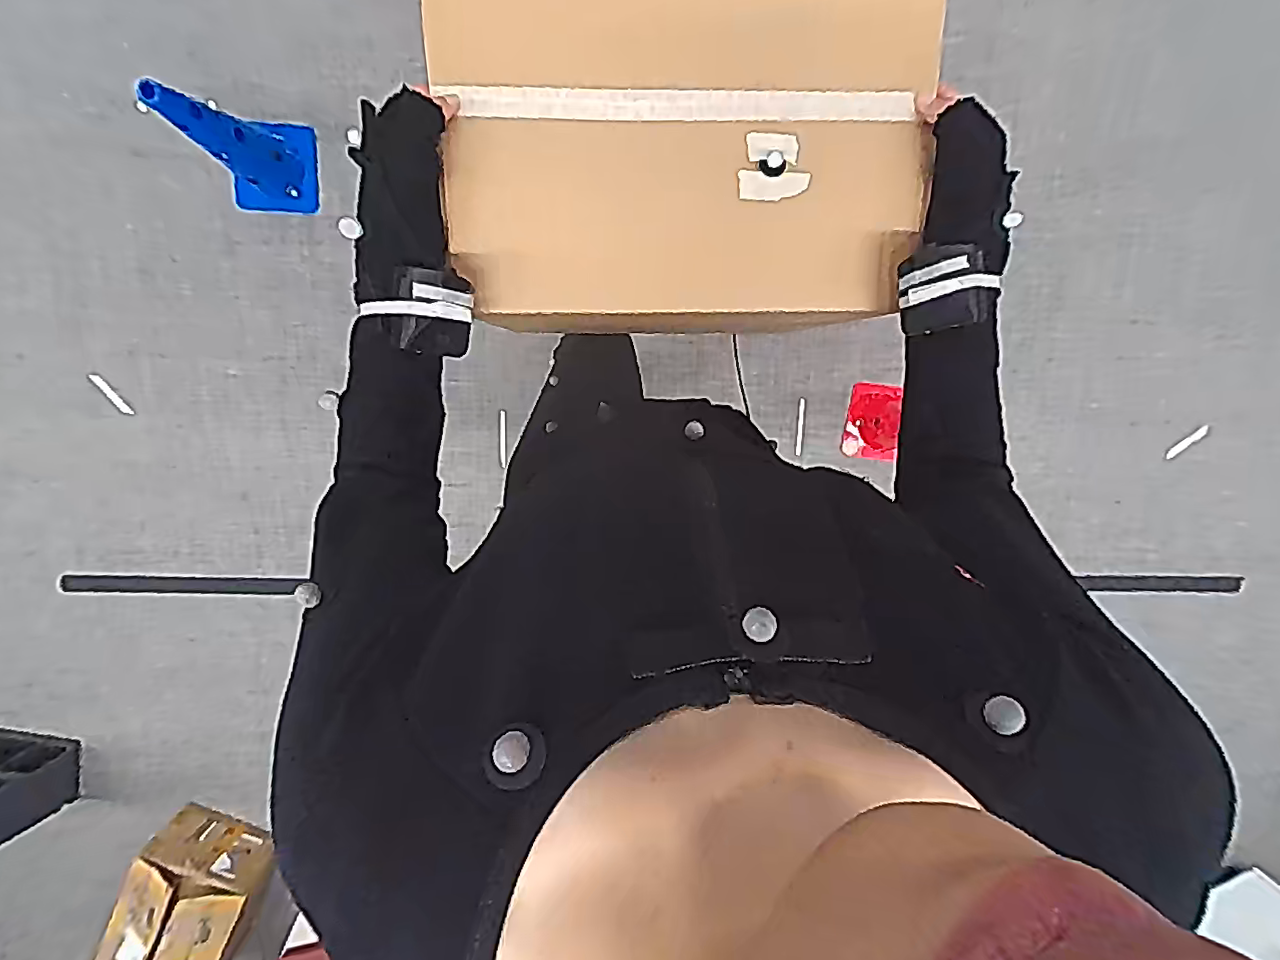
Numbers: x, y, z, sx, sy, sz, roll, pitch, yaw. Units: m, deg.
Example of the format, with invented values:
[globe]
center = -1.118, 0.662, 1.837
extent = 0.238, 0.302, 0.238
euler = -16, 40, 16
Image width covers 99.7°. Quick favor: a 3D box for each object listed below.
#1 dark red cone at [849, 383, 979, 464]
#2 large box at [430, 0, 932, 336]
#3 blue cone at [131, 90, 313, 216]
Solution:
[dark red cone]
center = 0.661, -0.118, 1.267
extent = 0.201, 0.394, 0.202
euler = 7, 100, -2
[large box]
center = 0.027, -0.330, 0.584
extent = 0.408, 0.320, 0.320
euler = -2, 102, -4
[blue cone]
center = -0.894, -0.719, 1.159
extent = 0.192, 0.380, 0.193
euler = 4, 100, -1
